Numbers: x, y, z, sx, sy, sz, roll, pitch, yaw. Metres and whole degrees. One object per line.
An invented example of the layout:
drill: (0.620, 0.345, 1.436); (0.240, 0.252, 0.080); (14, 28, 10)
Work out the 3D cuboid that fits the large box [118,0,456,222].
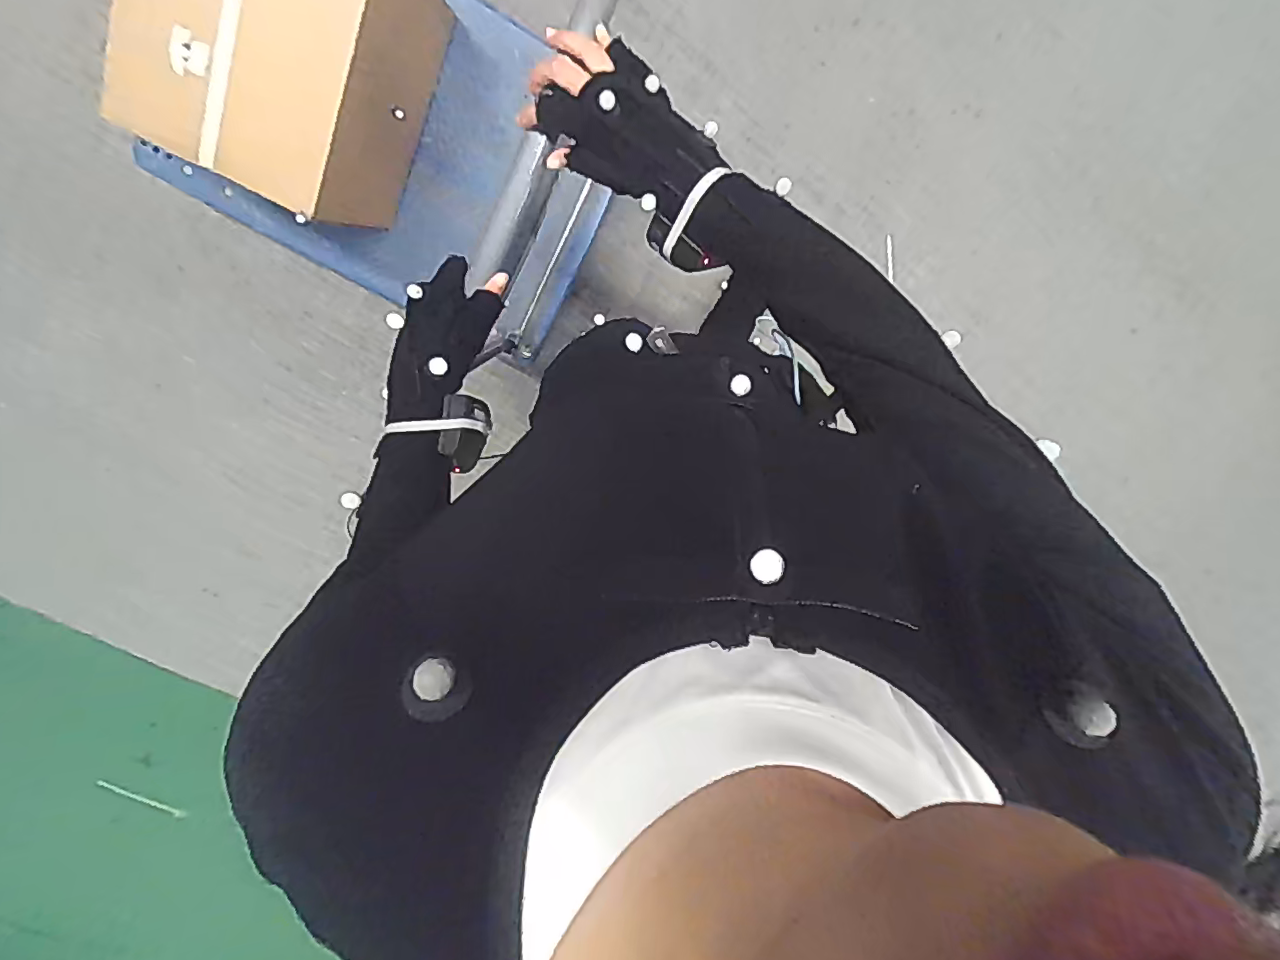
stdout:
large box: (-0.549, -0.701, 0.892); (0.320, 0.320, 0.408); (25, 110, -10)
